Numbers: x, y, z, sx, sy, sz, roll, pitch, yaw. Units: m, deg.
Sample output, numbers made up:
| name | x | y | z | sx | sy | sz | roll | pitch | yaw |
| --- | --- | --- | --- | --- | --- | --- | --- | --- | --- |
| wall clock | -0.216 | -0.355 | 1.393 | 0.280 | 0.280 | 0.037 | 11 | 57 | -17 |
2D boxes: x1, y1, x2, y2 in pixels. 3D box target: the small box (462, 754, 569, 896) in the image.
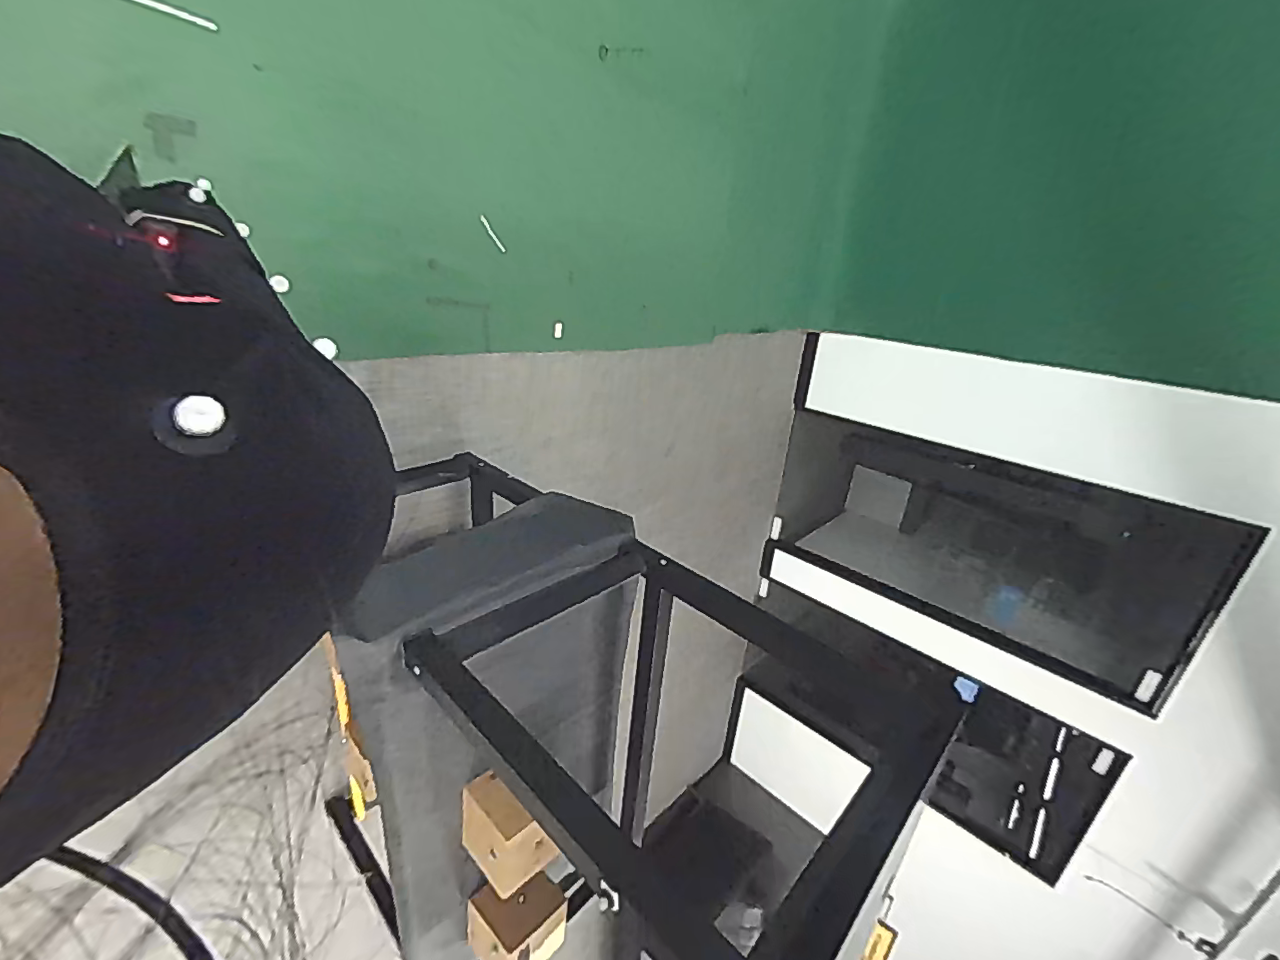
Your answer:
| name | x | y | z | sx | sy | sz | roll | pitch | yaw |
| --- | --- | --- | --- | --- | --- | --- | --- | --- | --- |
| small box | -0.278 | 0.740 | 1.190 | 0.168 | 0.176 | 0.179 | -15 | 119 | -46 |

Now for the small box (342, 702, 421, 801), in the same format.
| name | x | y | z | sx | sy | sz | roll | pitch | yaw |
| --- | --- | --- | --- | --- | --- | --- | --- | --- | --- |
| small box | -0.788 | 0.817 | 1.644 | 0.179 | 0.176 | 0.168 | -14 | 119 | -46 |
